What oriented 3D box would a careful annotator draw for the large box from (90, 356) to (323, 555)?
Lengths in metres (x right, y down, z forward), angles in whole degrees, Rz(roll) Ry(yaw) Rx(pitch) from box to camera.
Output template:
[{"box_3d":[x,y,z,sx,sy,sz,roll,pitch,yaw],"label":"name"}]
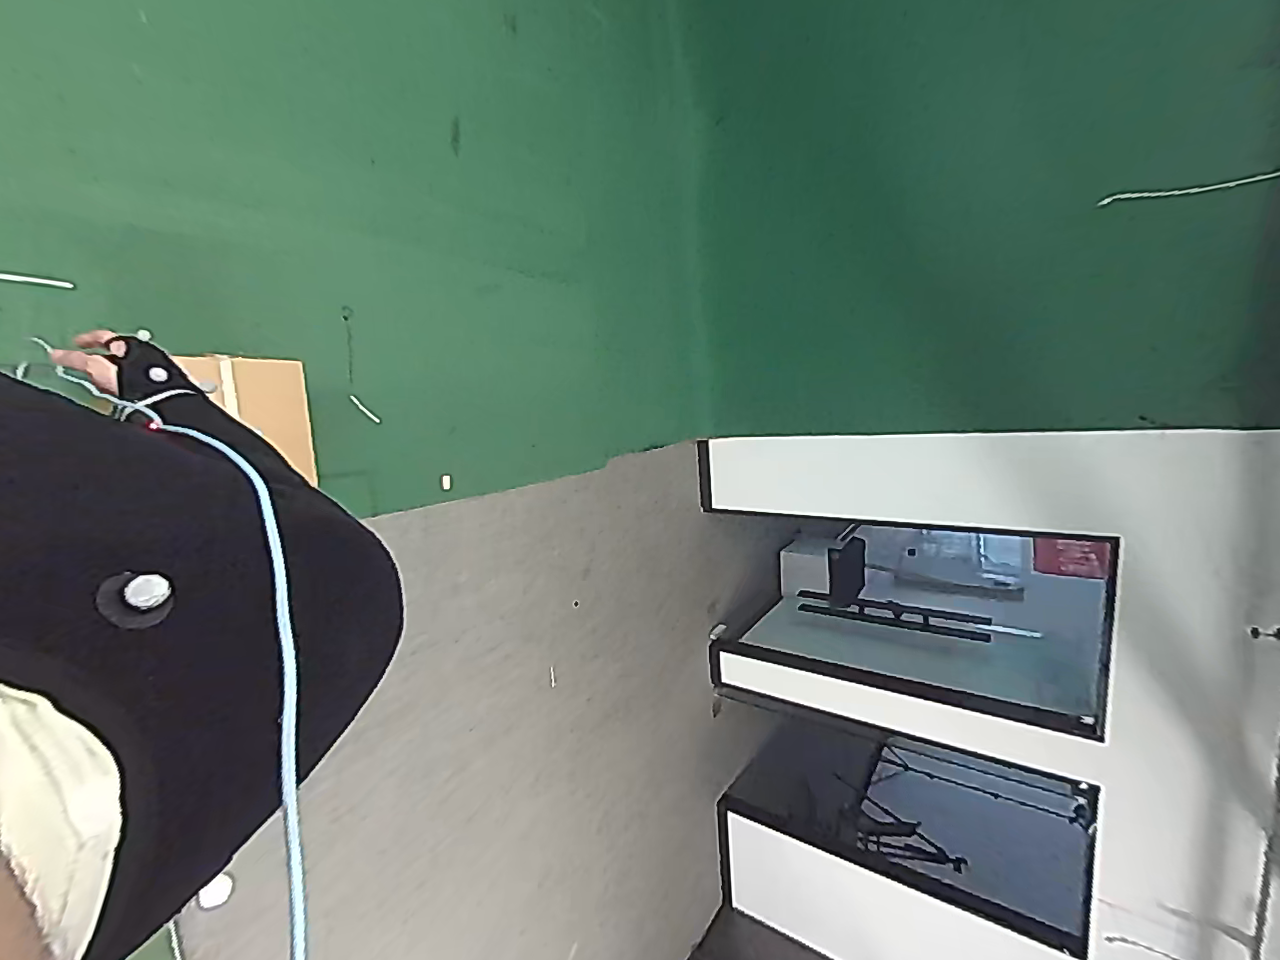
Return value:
[{"box_3d":[-1.003,-0.072,1.266,0.320,0.320,0.408,-14,104,-54],"label":"large box"}]
